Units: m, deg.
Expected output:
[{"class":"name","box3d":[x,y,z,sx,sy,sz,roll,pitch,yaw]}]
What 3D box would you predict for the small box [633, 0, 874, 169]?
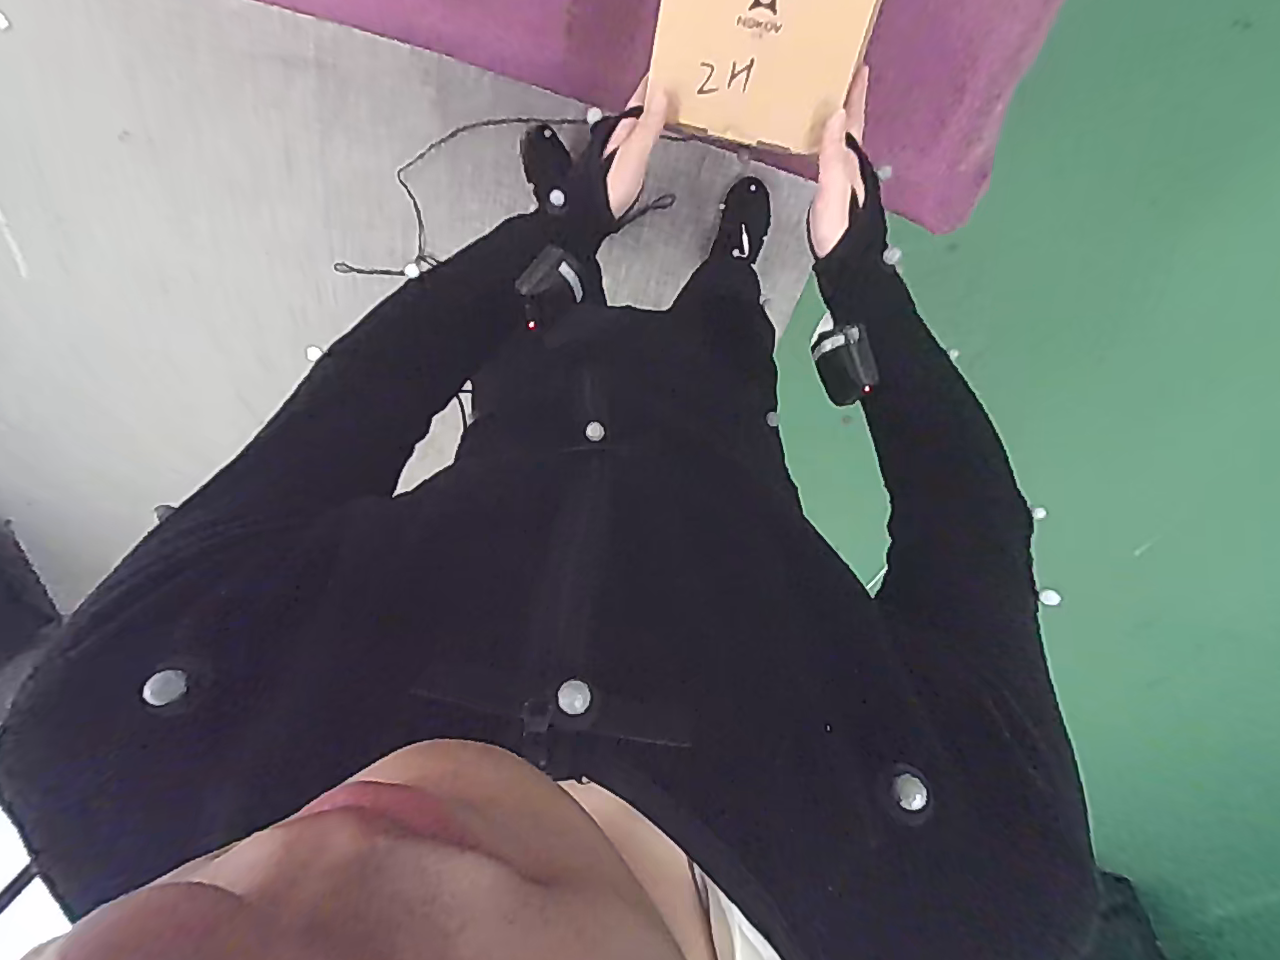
[{"class":"small box","box3d":[0.109,-0.397,0.486,0.168,0.176,0.179,19,123,10]}]
